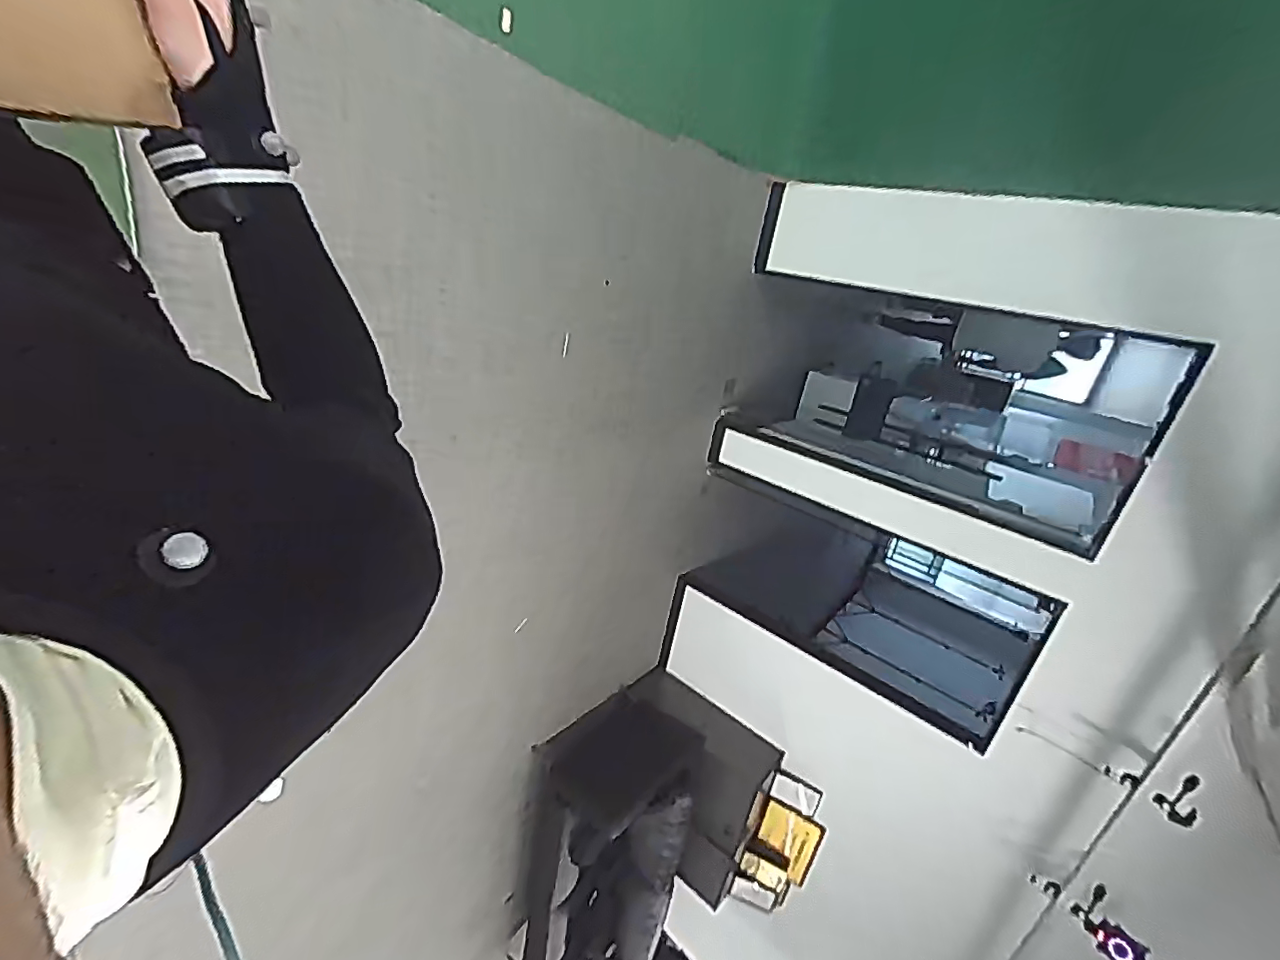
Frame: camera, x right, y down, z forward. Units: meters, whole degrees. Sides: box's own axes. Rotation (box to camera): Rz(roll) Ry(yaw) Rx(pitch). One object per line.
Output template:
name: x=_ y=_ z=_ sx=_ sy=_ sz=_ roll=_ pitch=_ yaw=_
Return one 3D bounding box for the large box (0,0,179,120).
large box: x=-0.574 y=-0.404 z=0.288 sx=0.408 sy=0.320 sz=0.320 roll=-22 pitch=129 yaw=-42
